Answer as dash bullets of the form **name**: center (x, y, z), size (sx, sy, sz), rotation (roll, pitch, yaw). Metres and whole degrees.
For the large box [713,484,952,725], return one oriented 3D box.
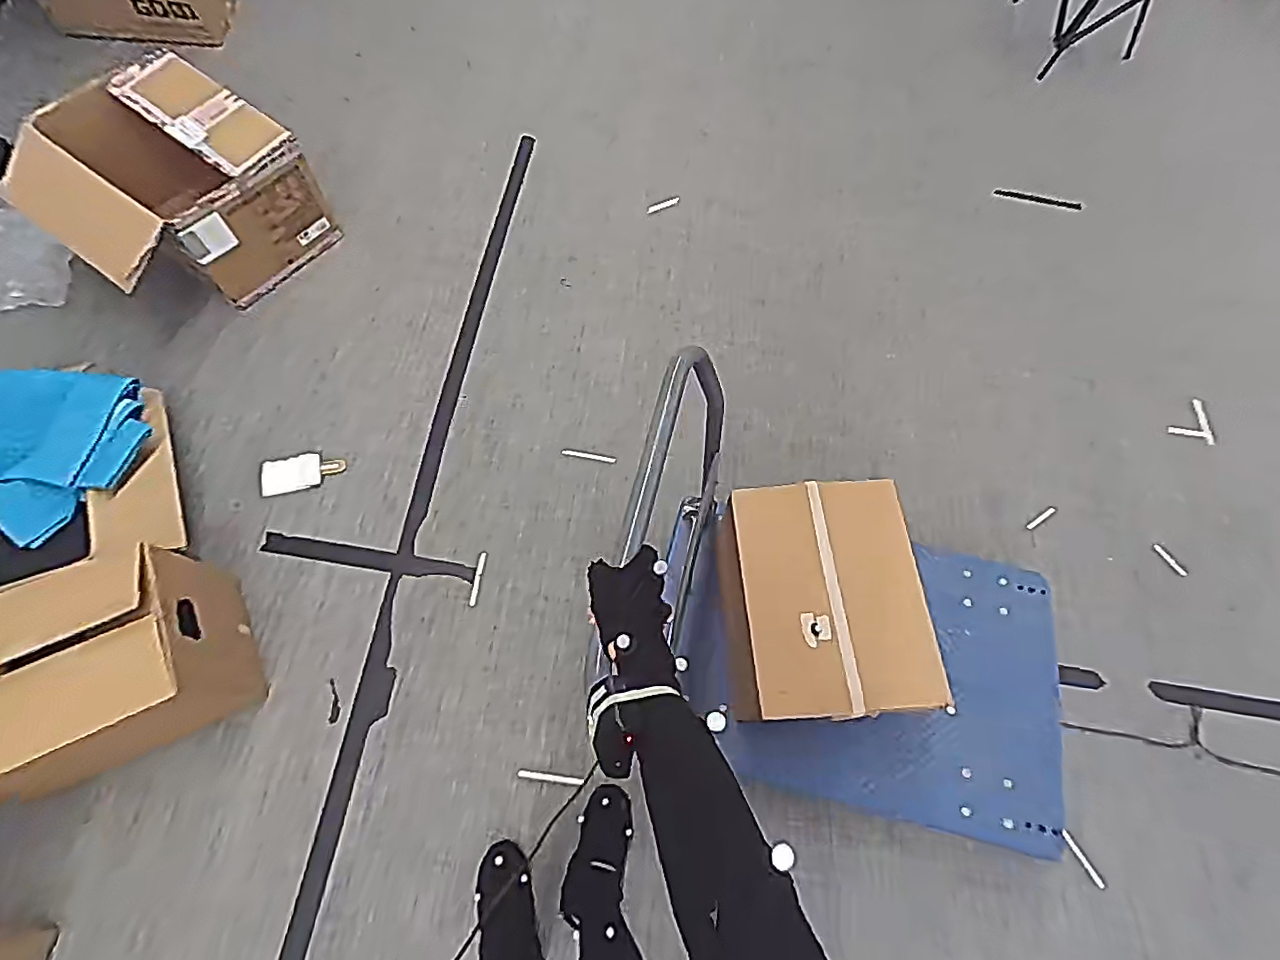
- **large box**: center (0.340, 0.259, 1.087), size (0.320, 0.320, 0.408), rotation (-5, 66, 0)
